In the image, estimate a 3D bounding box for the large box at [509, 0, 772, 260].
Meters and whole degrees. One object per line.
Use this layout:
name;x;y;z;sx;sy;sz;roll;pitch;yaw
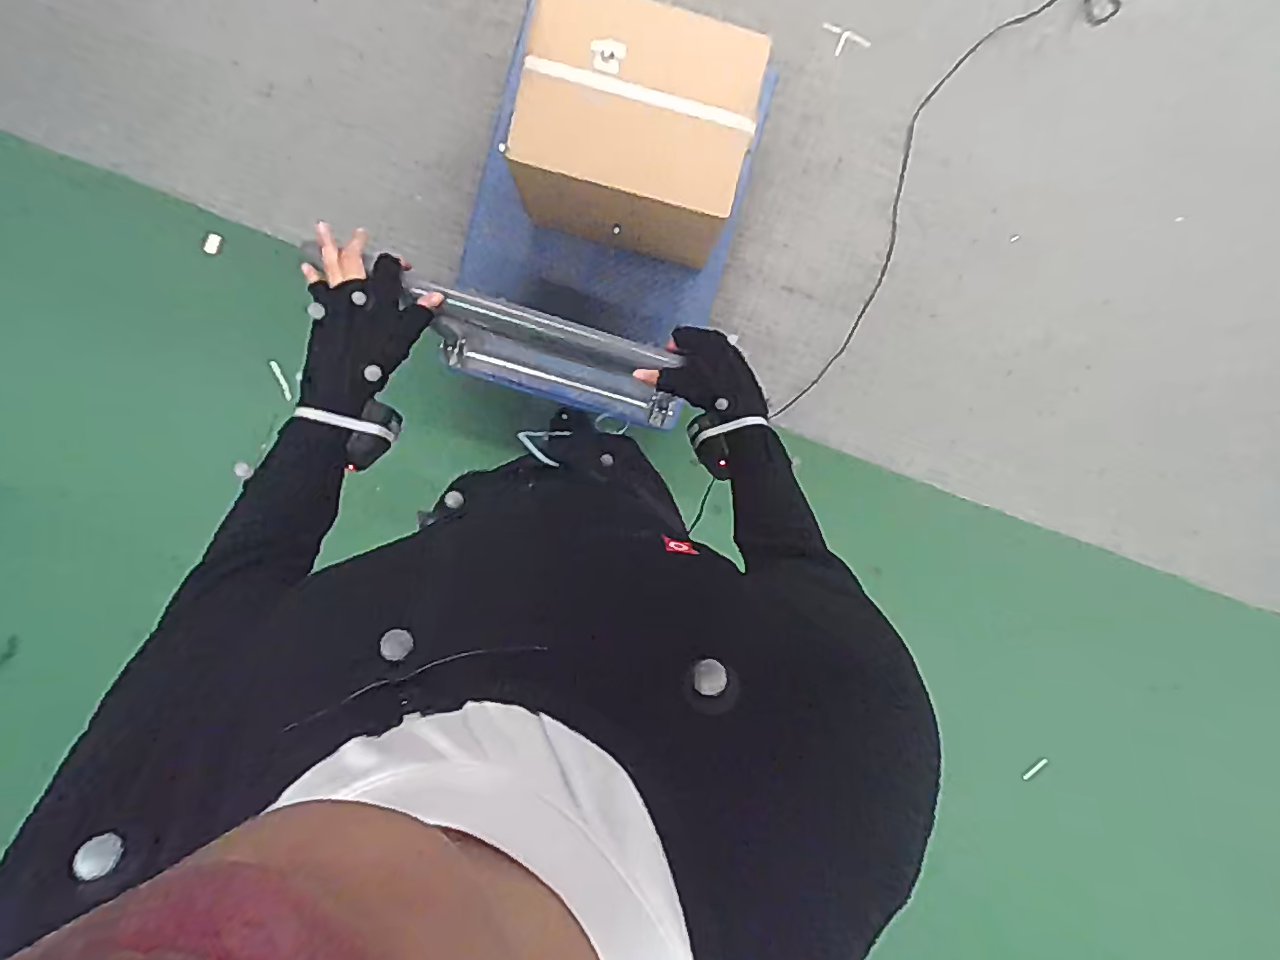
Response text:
large box;-0.002;-0.677;1.075;0.408;0.320;0.320;14;94;-3
